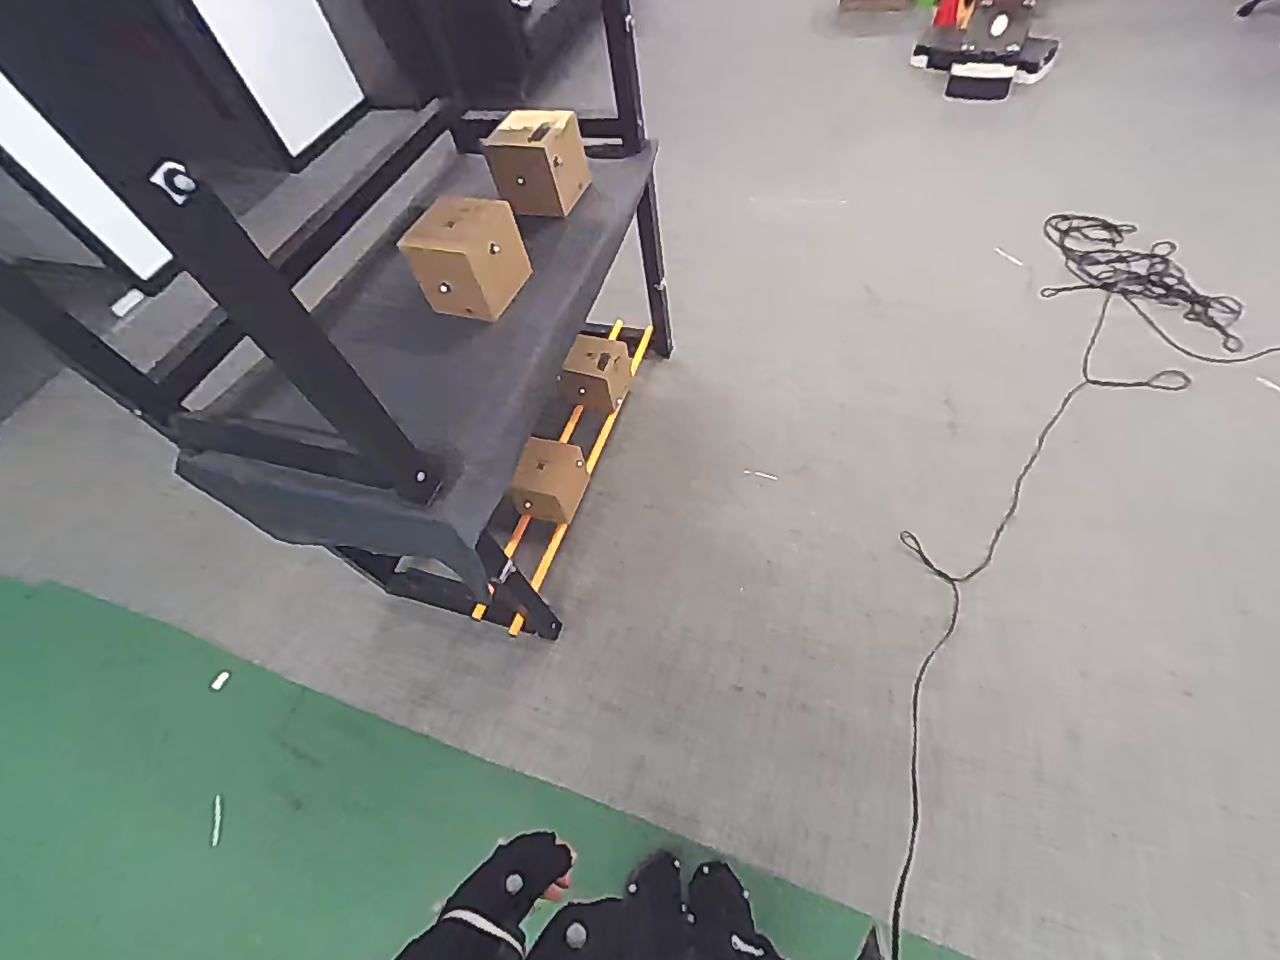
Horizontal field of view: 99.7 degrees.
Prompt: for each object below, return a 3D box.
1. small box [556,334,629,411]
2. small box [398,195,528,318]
[{"bbox_3d":[-0.147,-0.350,1.781,0.179,0.176,0.168,15,60,17],"label":"small box"},{"bbox_3d":[-0.359,-0.467,1.138,0.168,0.176,0.179,14,60,17],"label":"small box"}]
